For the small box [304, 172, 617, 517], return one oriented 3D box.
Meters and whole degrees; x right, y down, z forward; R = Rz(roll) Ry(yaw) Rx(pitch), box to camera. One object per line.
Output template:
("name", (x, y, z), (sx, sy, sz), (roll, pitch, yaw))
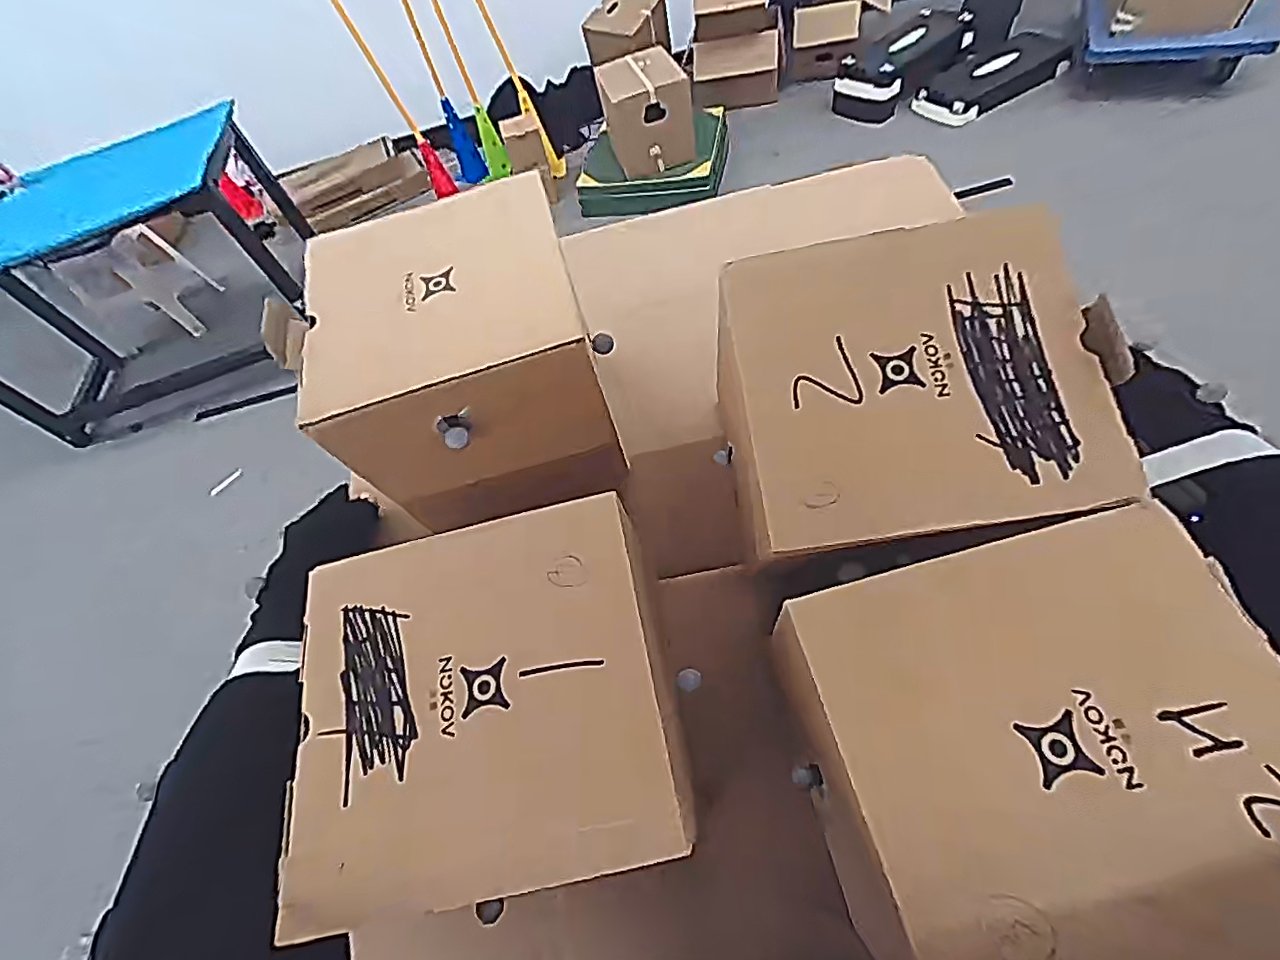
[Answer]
("small box", (-0.124, -0.093, 0.425), (0.179, 0.176, 0.168), (-18, 62, 2))
